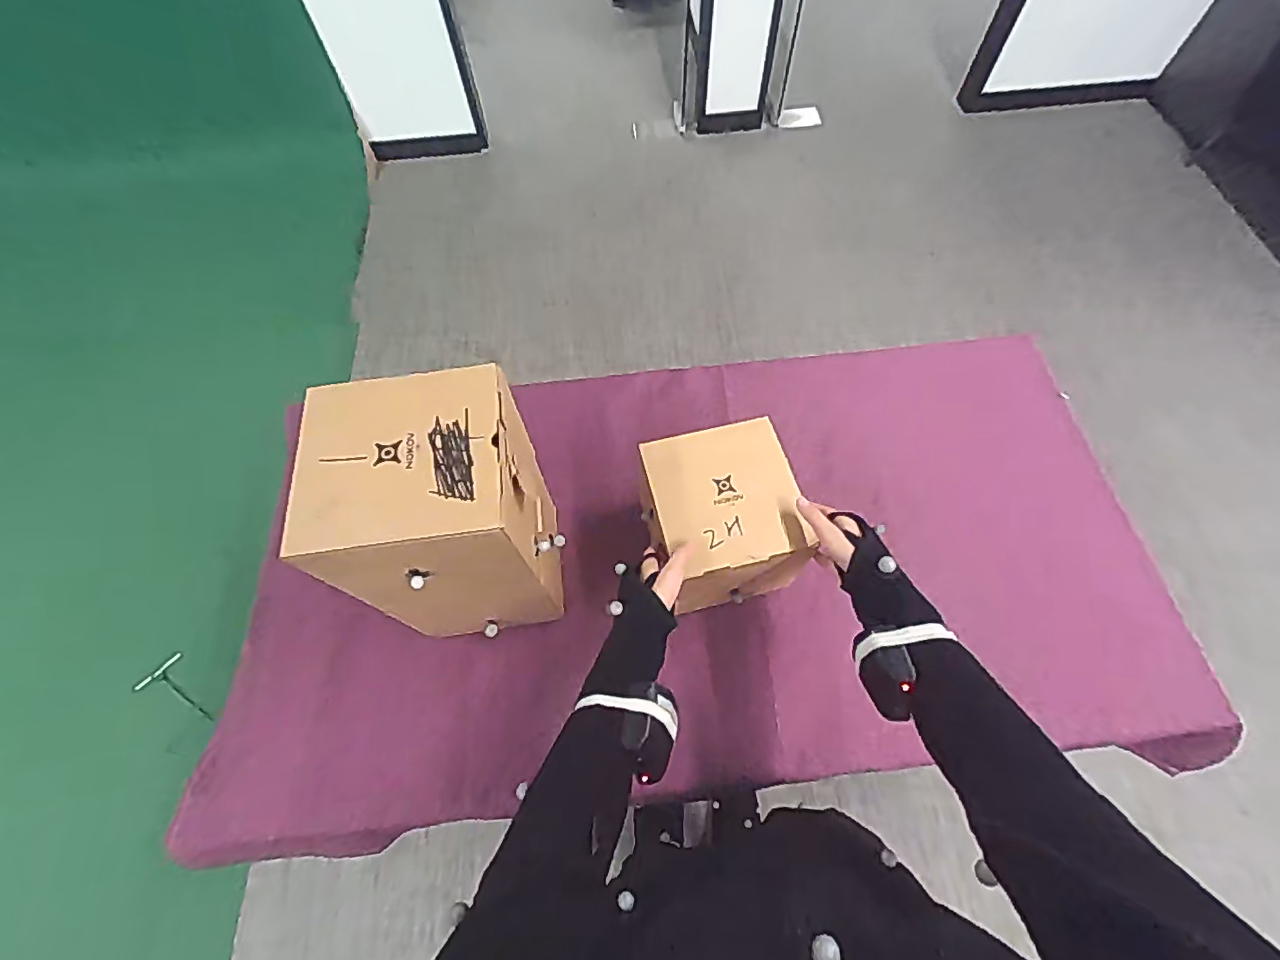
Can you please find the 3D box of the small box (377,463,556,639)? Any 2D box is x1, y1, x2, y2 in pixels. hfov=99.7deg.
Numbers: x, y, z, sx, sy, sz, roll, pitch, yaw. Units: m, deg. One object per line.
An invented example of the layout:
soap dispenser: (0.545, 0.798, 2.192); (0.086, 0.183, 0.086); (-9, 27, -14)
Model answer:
small box: (-0.203, 0.095, 0.680); (0.179, 0.176, 0.168); (-8, 63, -3)

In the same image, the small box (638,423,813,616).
small box: (0.094, 0.056, 0.690); (0.168, 0.176, 0.179); (-12, 64, -4)

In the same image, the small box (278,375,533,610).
small box: (-0.206, 0.021, 0.532); (0.179, 0.176, 0.168); (-8, 64, -1)
